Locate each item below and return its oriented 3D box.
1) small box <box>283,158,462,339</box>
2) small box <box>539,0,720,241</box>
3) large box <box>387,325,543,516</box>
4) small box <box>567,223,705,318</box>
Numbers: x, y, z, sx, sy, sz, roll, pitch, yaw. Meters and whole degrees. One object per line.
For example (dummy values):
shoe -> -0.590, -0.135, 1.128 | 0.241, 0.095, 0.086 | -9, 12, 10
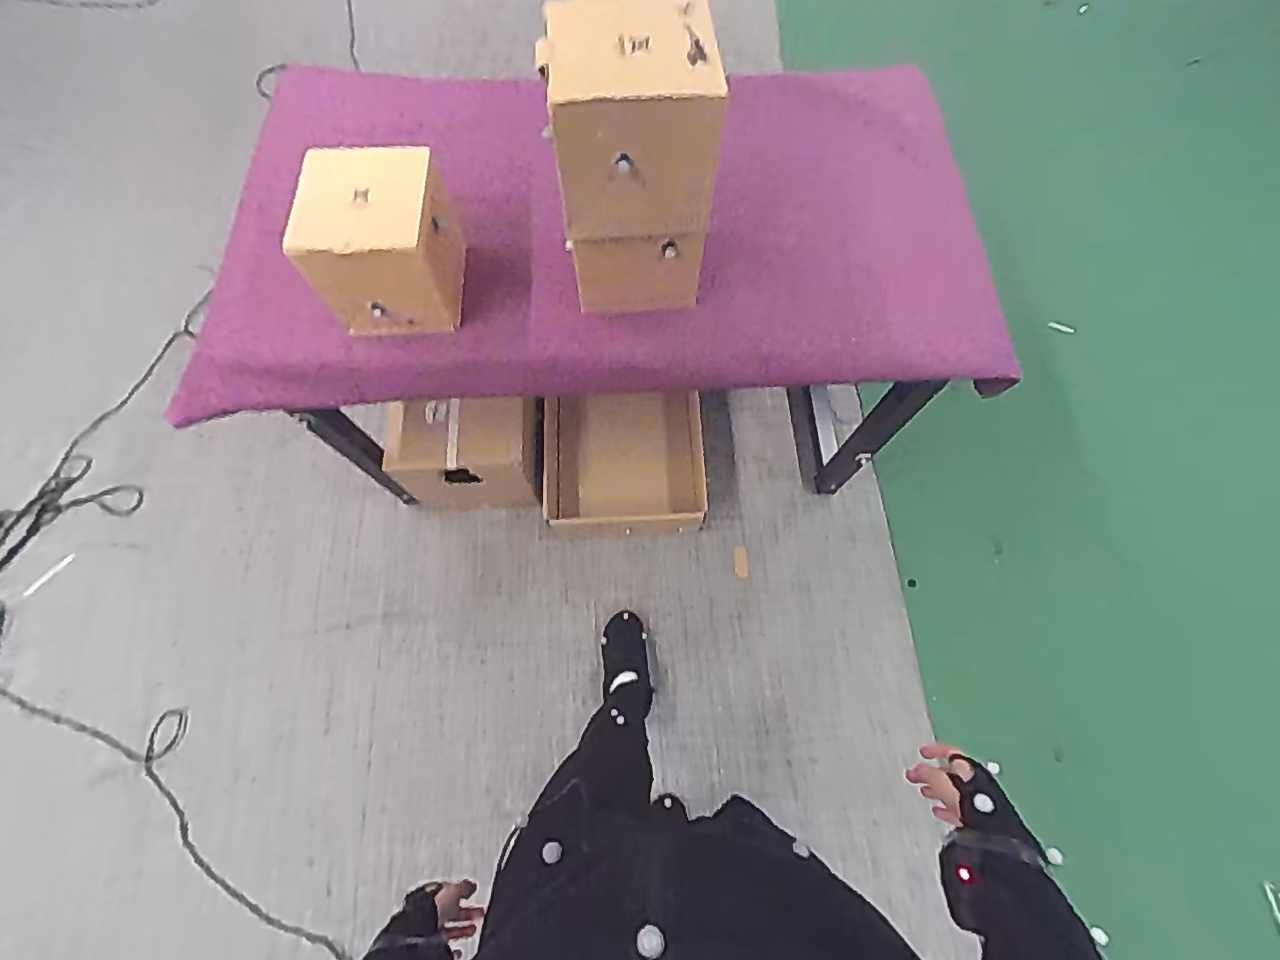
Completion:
small box -> -0.360, -0.322, 0.768 | 0.168, 0.176, 0.179 | -2, 68, -1
small box -> -0.013, -0.398, 0.620 | 0.179, 0.176, 0.168 | -5, 68, -1
large box -> -0.427, -0.143, 1.408 | 0.320, 0.320, 0.408 | -3, 70, -2
small box -> -0.009, -0.354, 0.779 | 0.179, 0.176, 0.168 | -4, 67, -1
